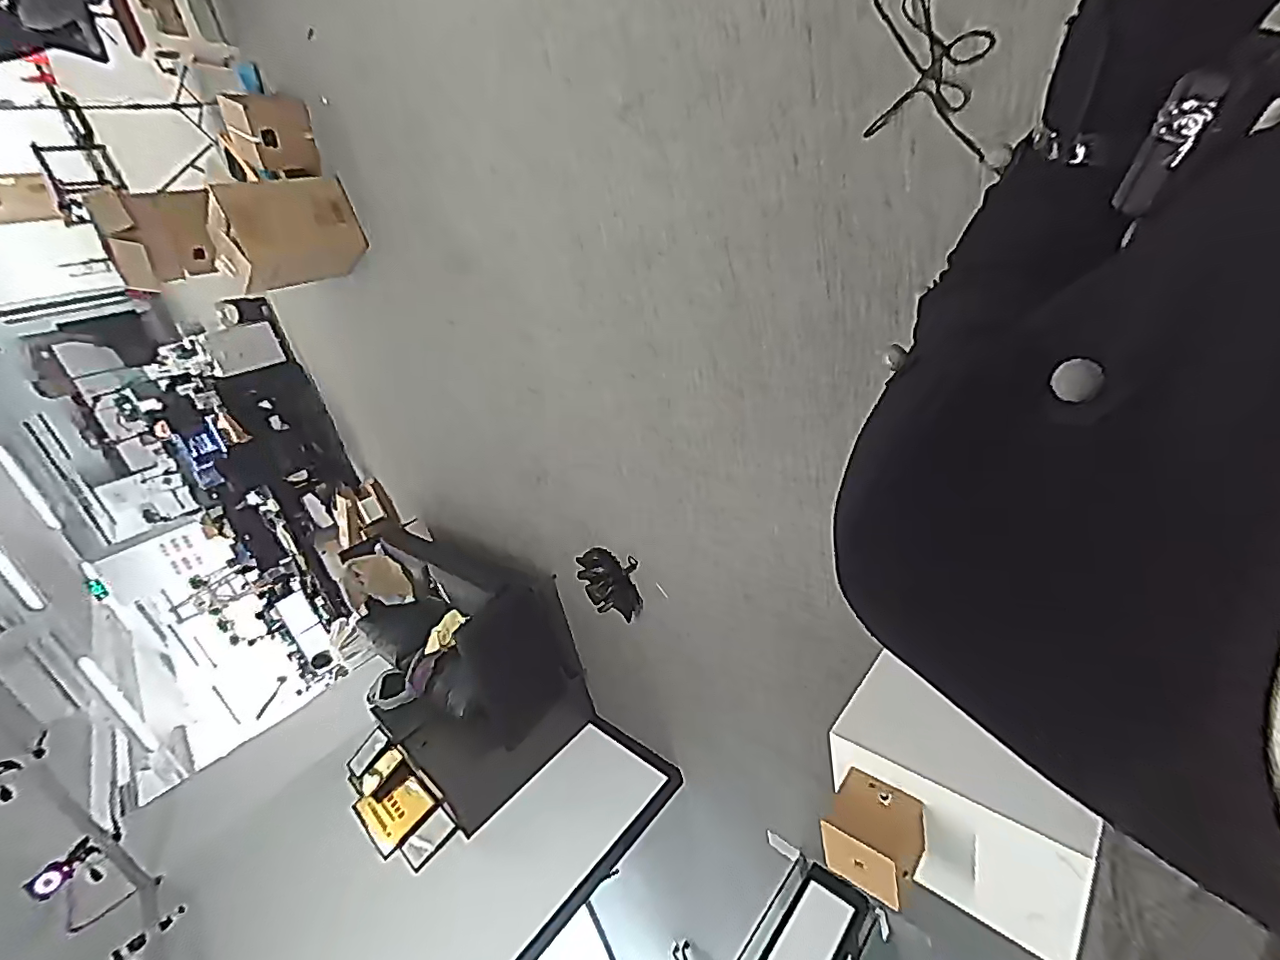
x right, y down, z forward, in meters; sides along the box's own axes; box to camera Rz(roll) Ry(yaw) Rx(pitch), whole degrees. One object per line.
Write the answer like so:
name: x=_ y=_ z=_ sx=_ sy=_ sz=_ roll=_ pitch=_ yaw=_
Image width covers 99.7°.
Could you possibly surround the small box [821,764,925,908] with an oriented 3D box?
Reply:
small box: x=0.536 y=0.803 z=1.236 sx=0.168 sy=0.176 sz=0.179 roll=8 pitch=120 yaw=45
